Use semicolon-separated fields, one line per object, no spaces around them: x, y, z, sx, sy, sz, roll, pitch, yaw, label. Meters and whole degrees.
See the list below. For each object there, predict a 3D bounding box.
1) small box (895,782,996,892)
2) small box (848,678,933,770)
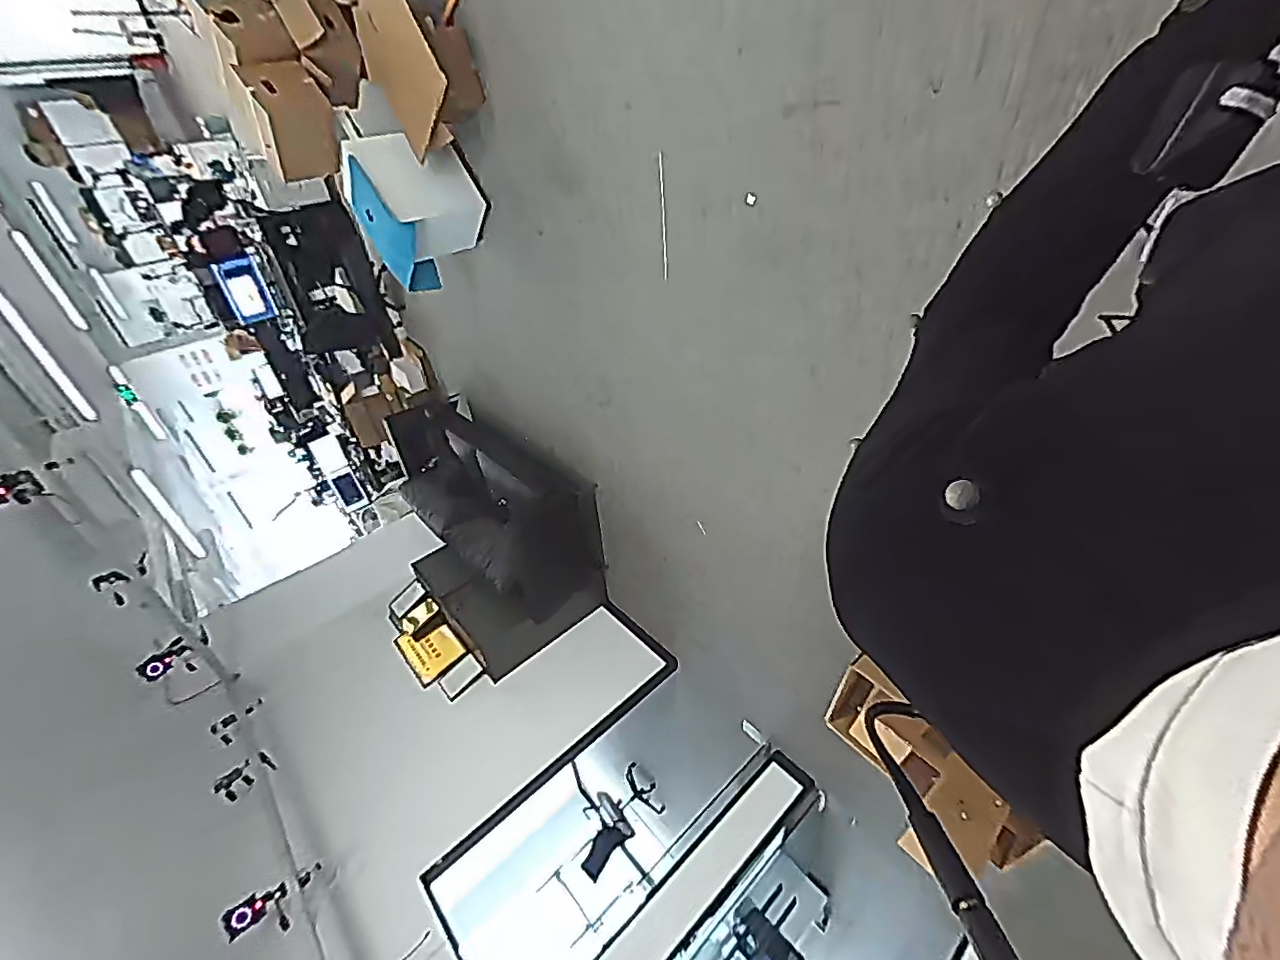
0.856;0.996;1.515;0.168;0.176;0.179;36;142;35;small box
0.804;0.778;1.736;0.168;0.176;0.179;37;142;34;small box
